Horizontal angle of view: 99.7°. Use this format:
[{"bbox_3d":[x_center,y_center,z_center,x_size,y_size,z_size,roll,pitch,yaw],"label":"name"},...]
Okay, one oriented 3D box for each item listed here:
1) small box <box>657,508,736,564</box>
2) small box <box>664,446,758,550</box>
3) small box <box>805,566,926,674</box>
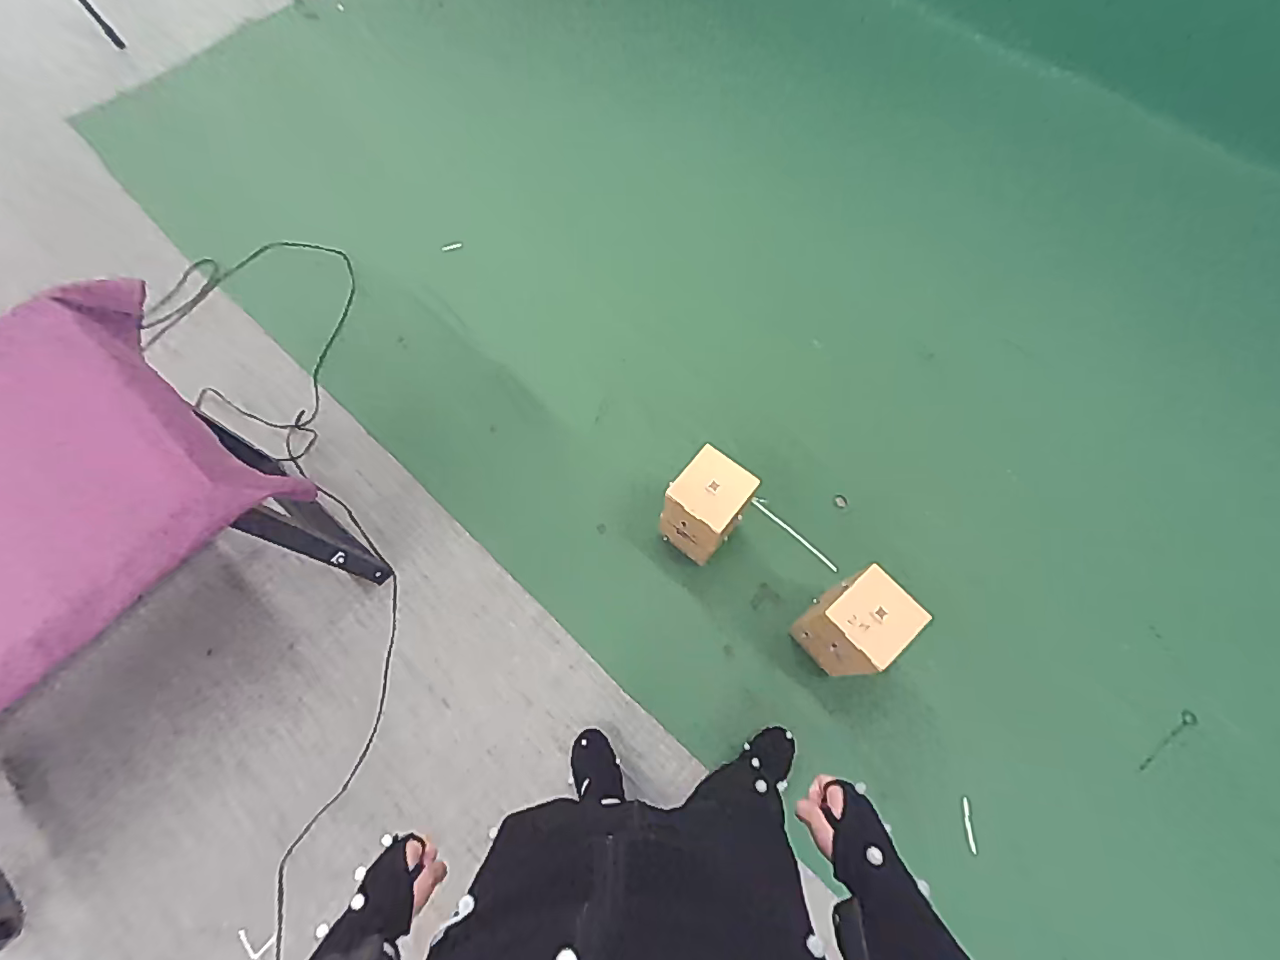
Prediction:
[{"bbox_3d":[0.165,0.114,1.534,0.168,0.176,0.179,39,73,14],"label":"small box"},{"bbox_3d":[0.172,0.050,1.385,0.168,0.176,0.179,37,73,14],"label":"small box"},{"bbox_3d":[0.517,0.331,1.268,0.179,0.176,0.168,-39,73,-14],"label":"small box"}]
